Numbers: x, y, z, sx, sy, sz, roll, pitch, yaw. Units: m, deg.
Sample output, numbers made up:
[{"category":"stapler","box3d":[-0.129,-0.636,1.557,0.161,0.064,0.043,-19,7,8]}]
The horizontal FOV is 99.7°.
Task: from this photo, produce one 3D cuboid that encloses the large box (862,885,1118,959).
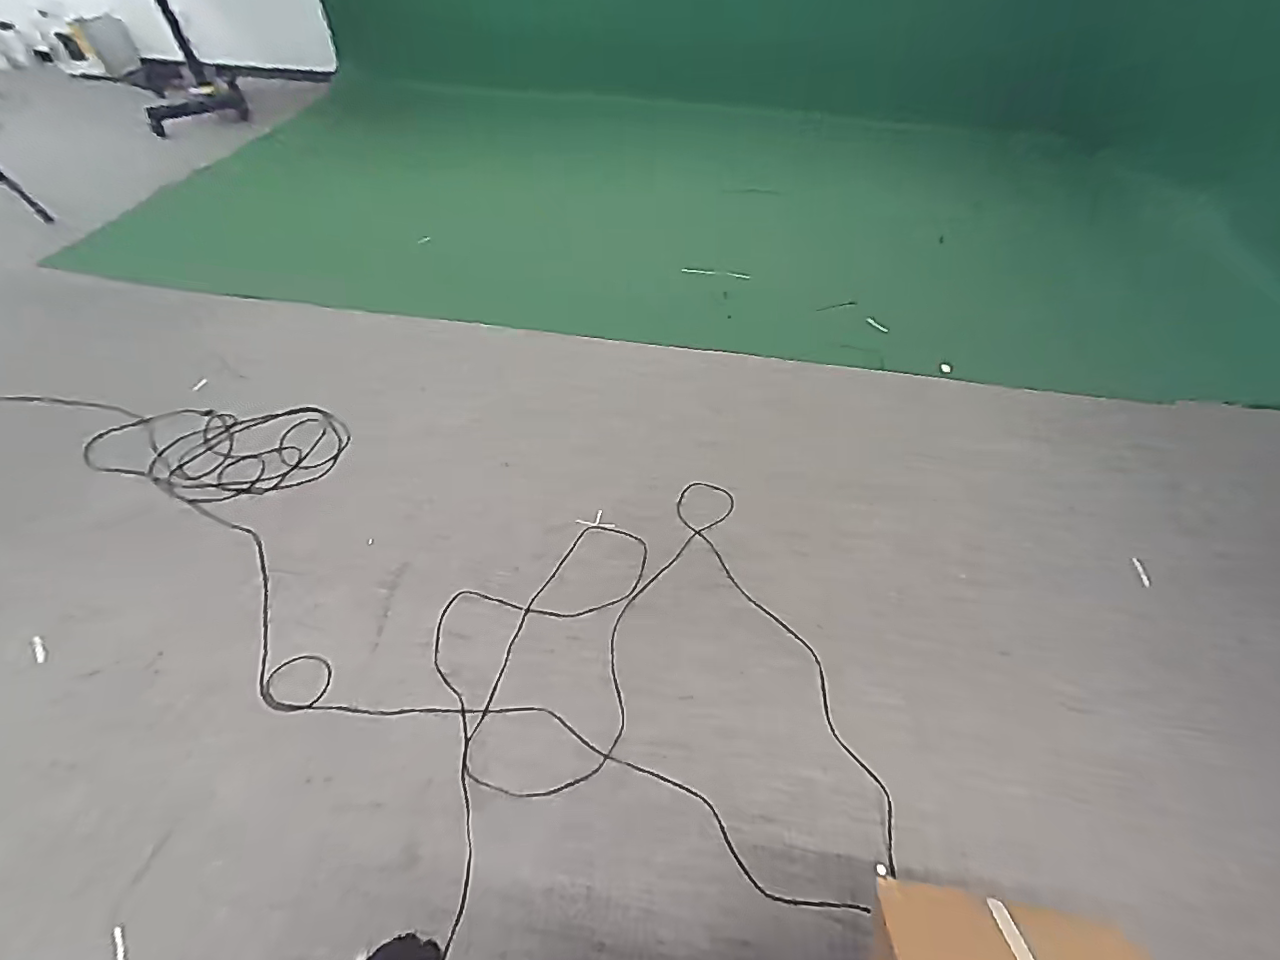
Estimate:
[{"category":"large box","box3d":[0.441,0.772,0.591,0.320,0.408,0.320,6,93,11]}]
